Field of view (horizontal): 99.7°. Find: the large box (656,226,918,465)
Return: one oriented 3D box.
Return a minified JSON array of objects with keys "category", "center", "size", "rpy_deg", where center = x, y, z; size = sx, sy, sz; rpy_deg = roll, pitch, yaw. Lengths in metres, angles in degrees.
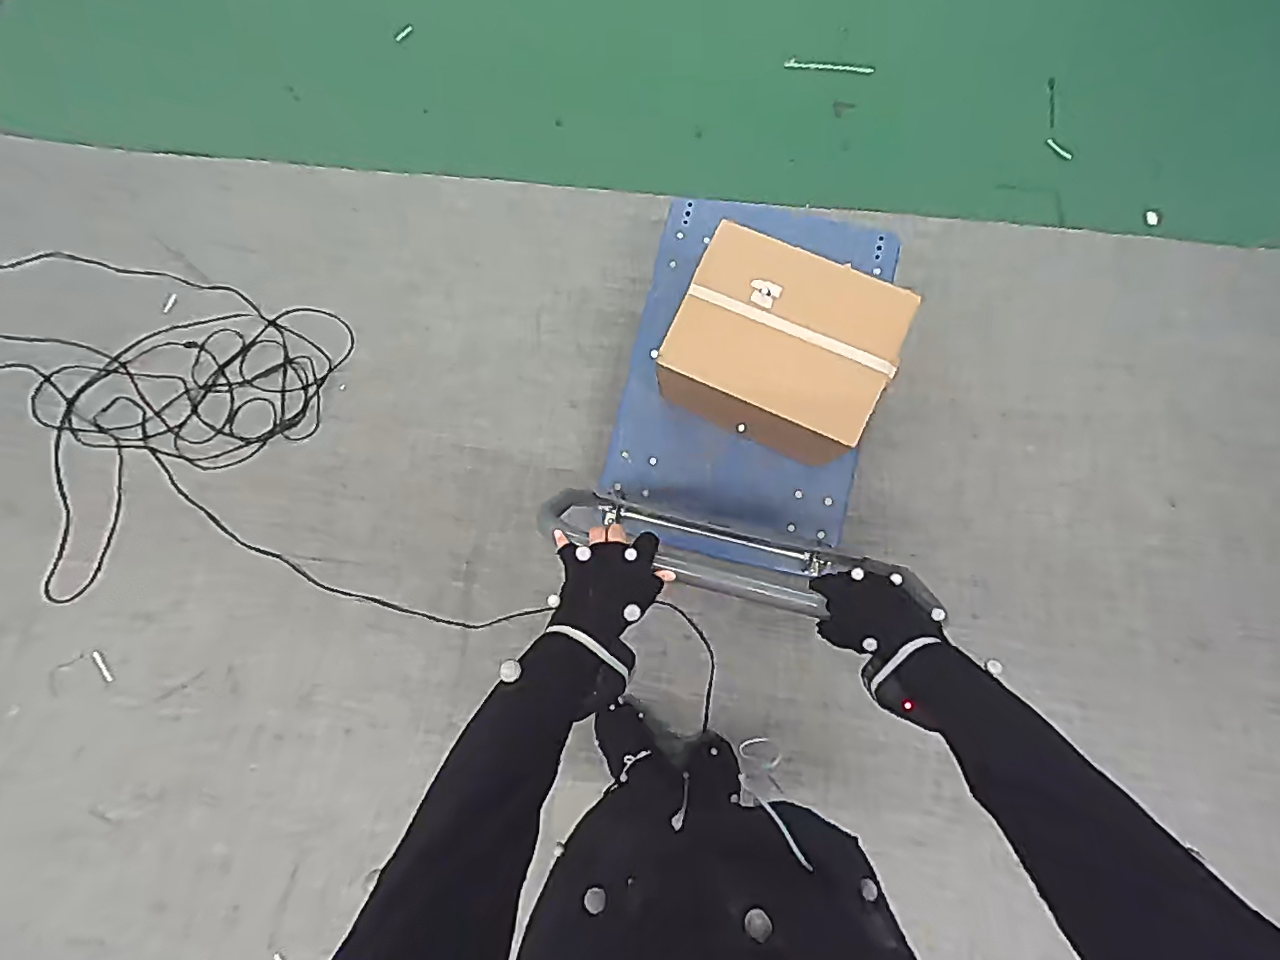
[{"category":"large box","center":[0.289,-0.260,1.156],"size":[0.408,0.320,0.320],"rpy_deg":[25,87,8]}]
